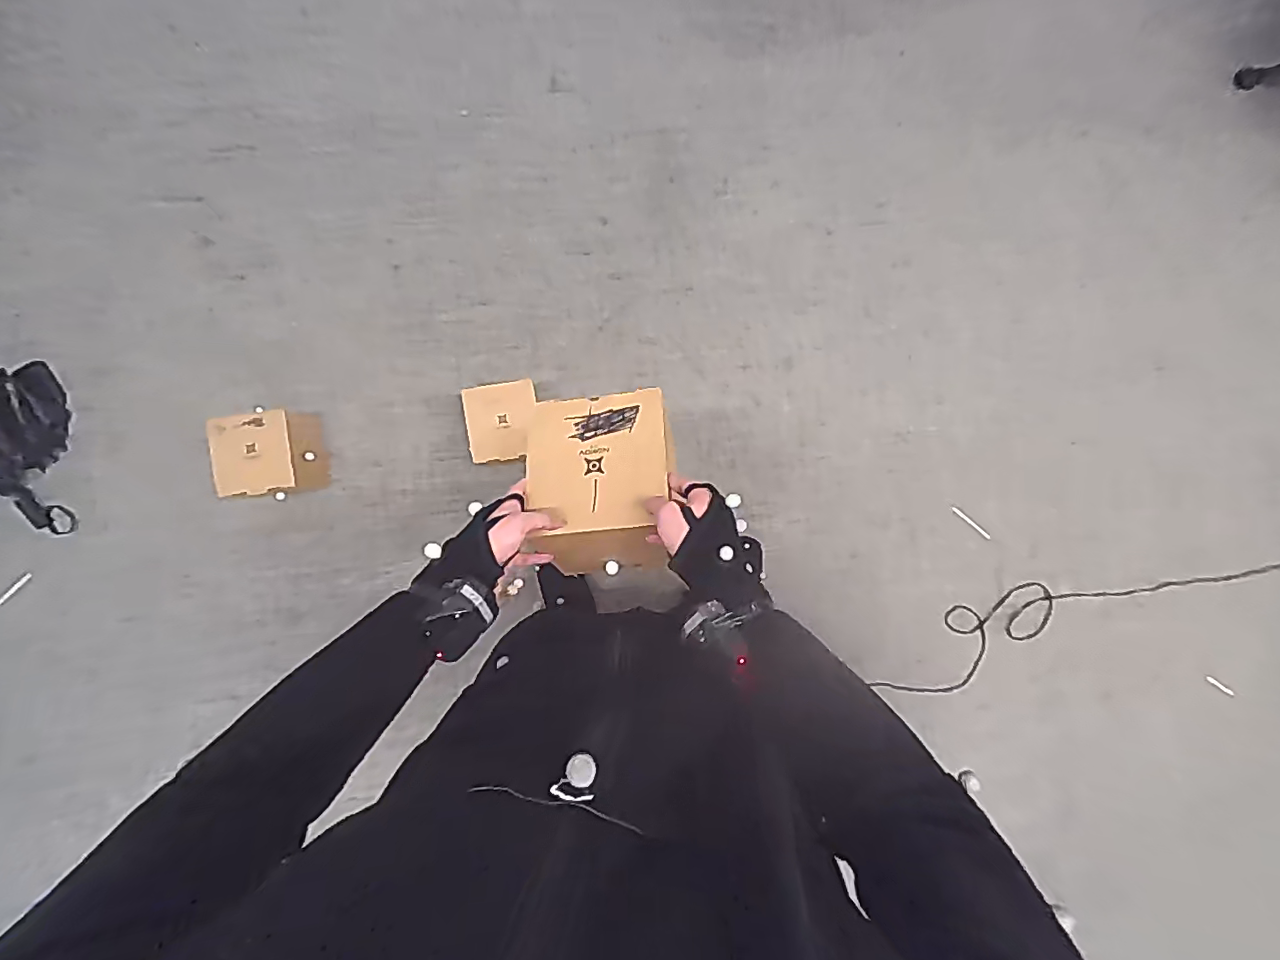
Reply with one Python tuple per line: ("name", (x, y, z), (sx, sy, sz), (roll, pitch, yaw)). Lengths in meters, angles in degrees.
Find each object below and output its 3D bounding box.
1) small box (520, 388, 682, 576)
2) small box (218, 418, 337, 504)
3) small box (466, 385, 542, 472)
("small box", (-0.041, 0.010, 0.687), (0.168, 0.176, 0.179), (-7, 65, 8))
("small box", (-0.848, -0.043, 1.283), (0.168, 0.176, 0.179), (-9, 89, -5))
("small box", (-0.313, -0.118, 1.324), (0.168, 0.176, 0.179), (-11, 87, -5))
